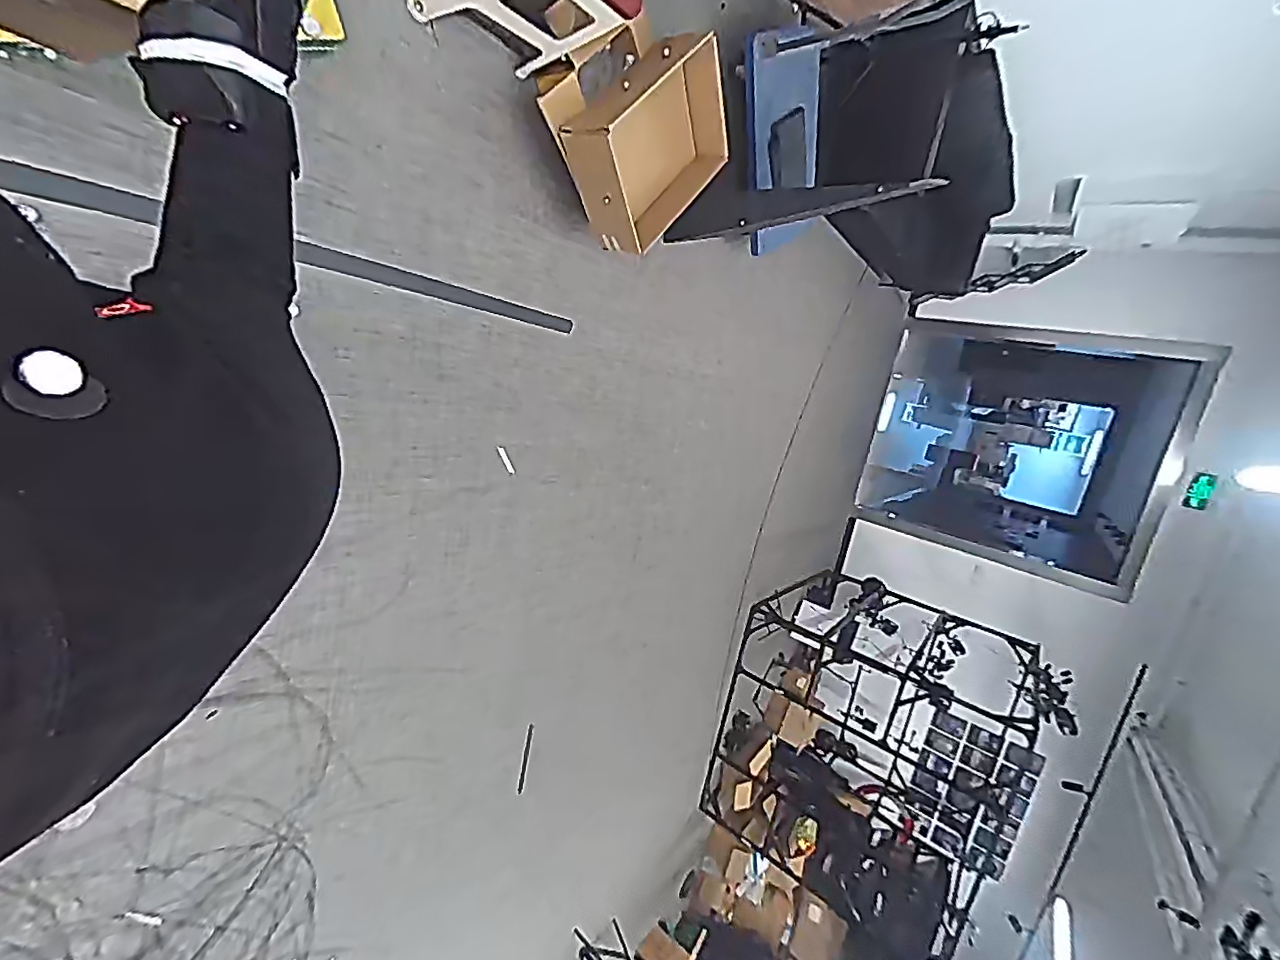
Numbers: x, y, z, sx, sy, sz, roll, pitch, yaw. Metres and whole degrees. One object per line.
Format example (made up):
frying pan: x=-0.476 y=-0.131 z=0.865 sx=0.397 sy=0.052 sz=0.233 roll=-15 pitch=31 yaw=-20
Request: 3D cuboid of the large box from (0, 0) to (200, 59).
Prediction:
large box: x=-0.500 y=-0.479 z=0.249 sx=0.408 sy=0.320 sz=0.320 roll=-7 pitch=117 yaw=-55
